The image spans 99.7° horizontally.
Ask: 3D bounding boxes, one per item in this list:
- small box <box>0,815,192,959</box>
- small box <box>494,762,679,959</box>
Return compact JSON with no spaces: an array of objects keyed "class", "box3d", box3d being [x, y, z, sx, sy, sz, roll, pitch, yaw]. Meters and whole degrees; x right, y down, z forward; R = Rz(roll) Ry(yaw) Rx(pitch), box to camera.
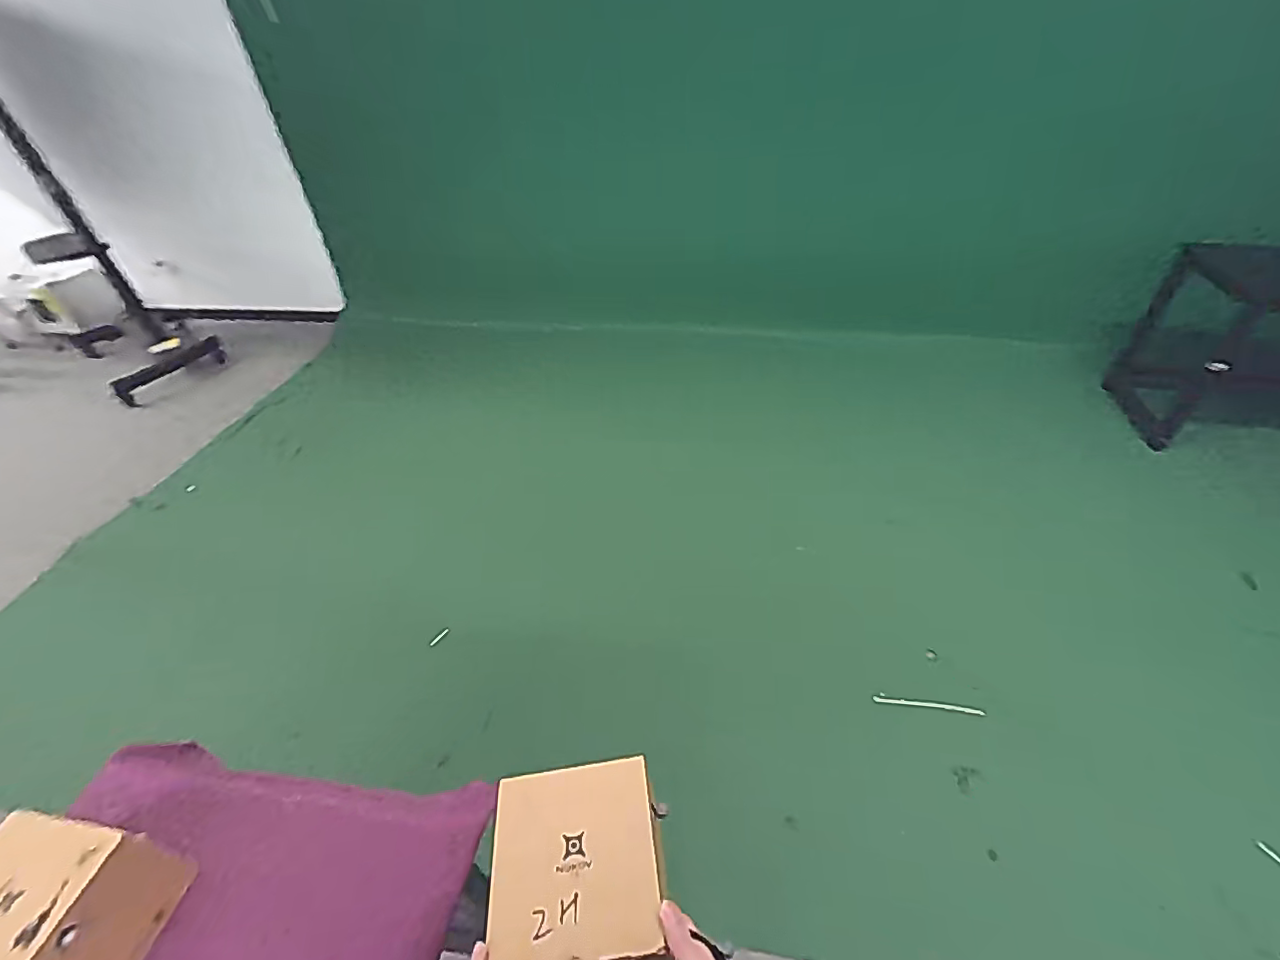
[{"class":"small box","box3d":[-0.740,0.551,0.680,0.179,0.176,0.168,5,44,8]},{"class":"small box","box3d":[-0.051,0.443,0.592,0.168,0.176,0.179,-8,40,-1]}]
